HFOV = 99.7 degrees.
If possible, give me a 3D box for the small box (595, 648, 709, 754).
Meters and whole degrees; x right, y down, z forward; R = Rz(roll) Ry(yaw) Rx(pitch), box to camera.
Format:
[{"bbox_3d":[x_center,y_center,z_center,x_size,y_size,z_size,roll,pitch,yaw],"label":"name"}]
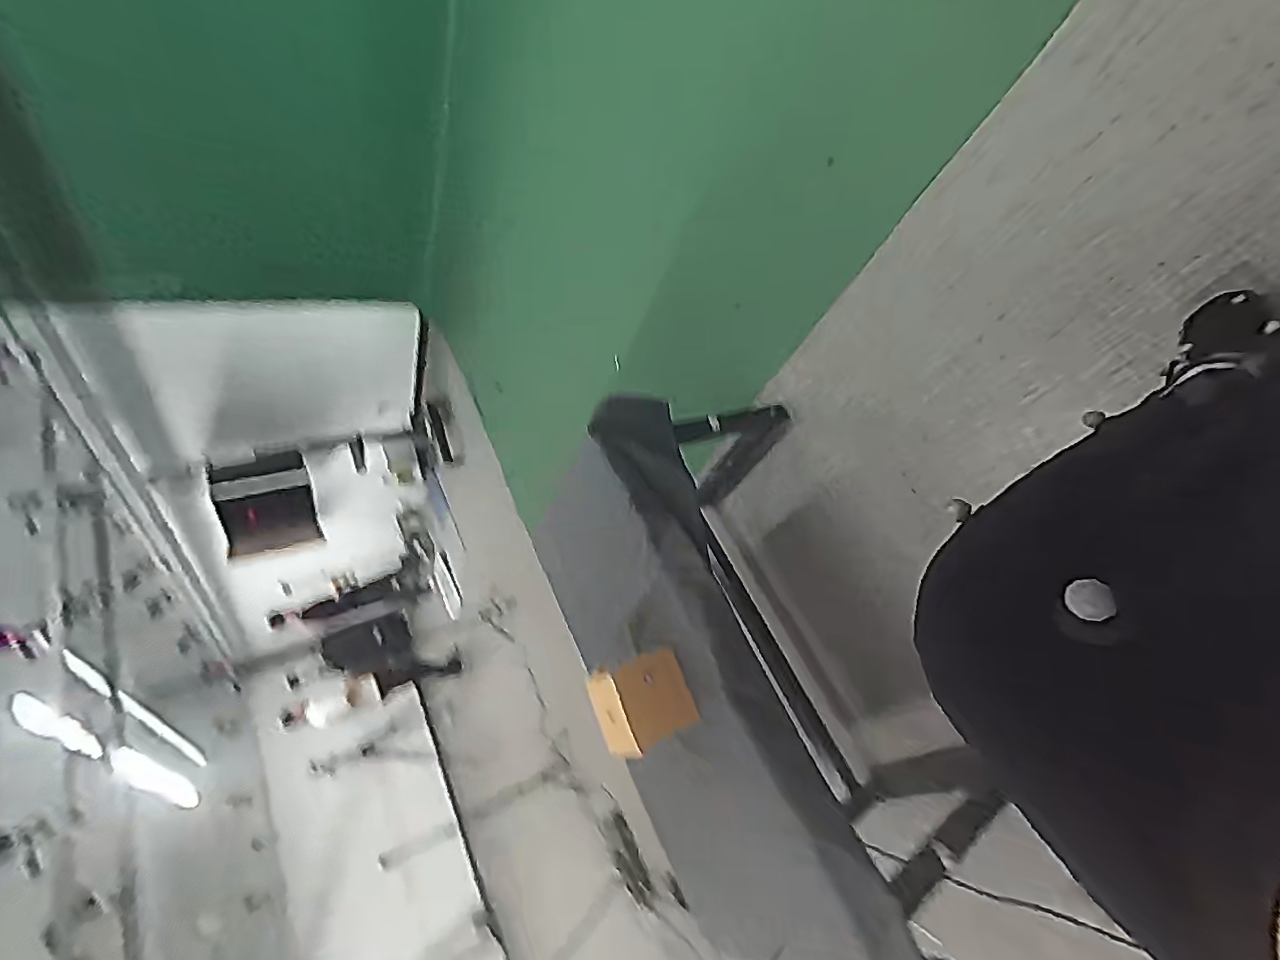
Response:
[{"bbox_3d":[0.025,0.500,1.235,0.179,0.176,0.168,65,147,15],"label":"small box"}]
